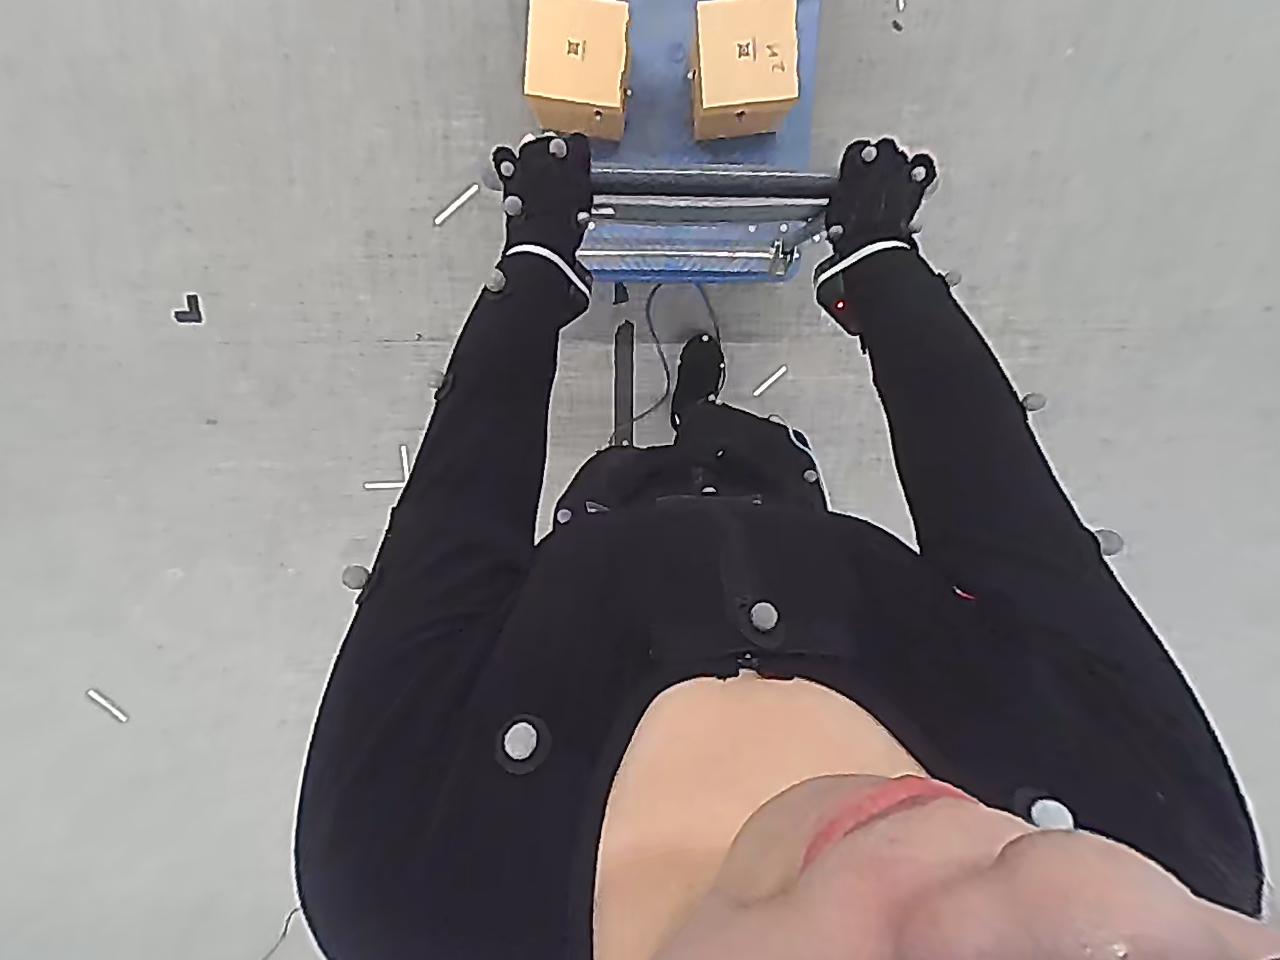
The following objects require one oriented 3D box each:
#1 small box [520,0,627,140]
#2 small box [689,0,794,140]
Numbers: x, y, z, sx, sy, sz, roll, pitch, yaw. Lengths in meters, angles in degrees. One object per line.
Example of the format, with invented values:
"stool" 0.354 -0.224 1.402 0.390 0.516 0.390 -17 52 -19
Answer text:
"small box" -0.120 -0.773 1.029 0.179 0.176 0.168 6 104 -3
"small box" 0.185 -0.772 1.028 0.179 0.176 0.168 -5 105 2
